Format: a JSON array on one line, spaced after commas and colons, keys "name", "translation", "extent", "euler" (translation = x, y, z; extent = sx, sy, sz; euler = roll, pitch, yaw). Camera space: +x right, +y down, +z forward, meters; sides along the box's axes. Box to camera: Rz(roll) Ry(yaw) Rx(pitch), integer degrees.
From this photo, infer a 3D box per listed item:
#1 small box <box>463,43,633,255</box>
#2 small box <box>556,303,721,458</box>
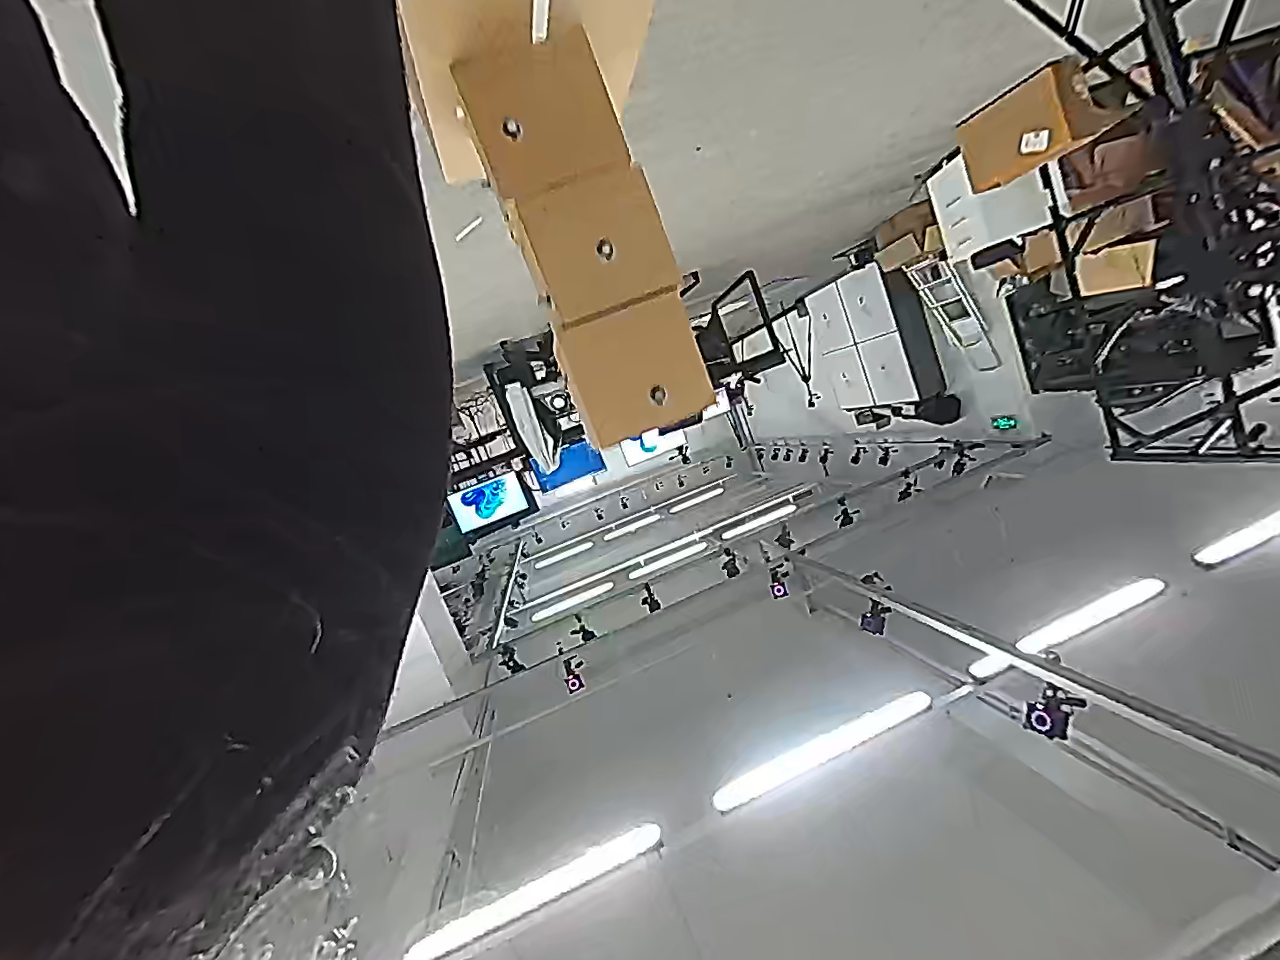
[{"name": "small box", "translation": [-0.129, -0.447, 0.749], "extent": [0.179, 0.176, 0.168], "euler": [-23, -172, -5]}, {"name": "small box", "translation": [-0.010, -0.144, 0.801], "extent": [0.179, 0.176, 0.168], "euler": [-22, -173, -8]}]
